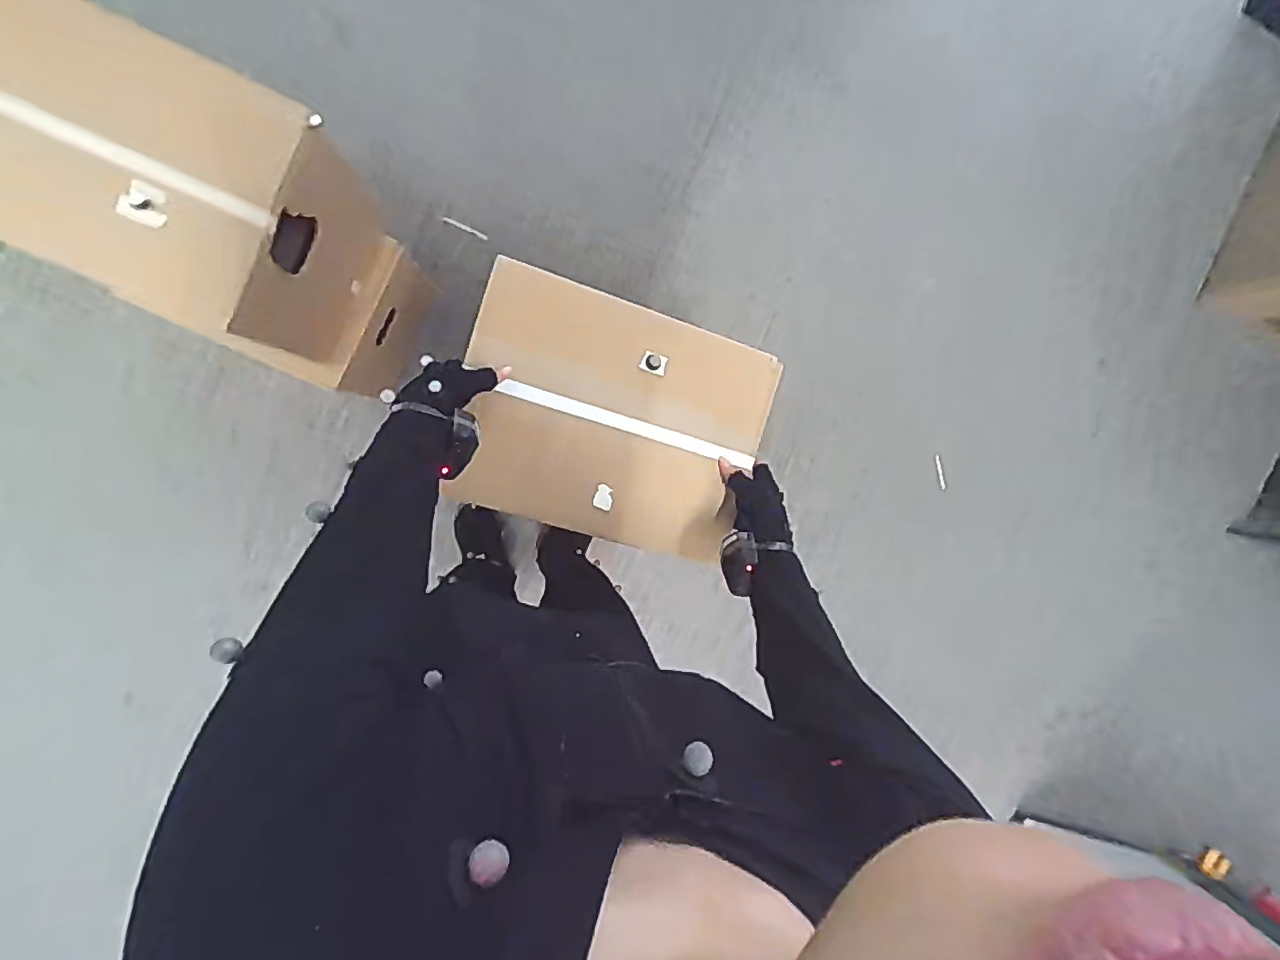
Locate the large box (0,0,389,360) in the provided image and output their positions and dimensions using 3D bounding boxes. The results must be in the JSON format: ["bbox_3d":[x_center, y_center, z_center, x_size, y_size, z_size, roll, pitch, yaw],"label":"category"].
[{"bbox_3d":[-0.675,-0.425,0.823,0.408,0.320,0.320,23,90,-10],"label":"large box"}]
